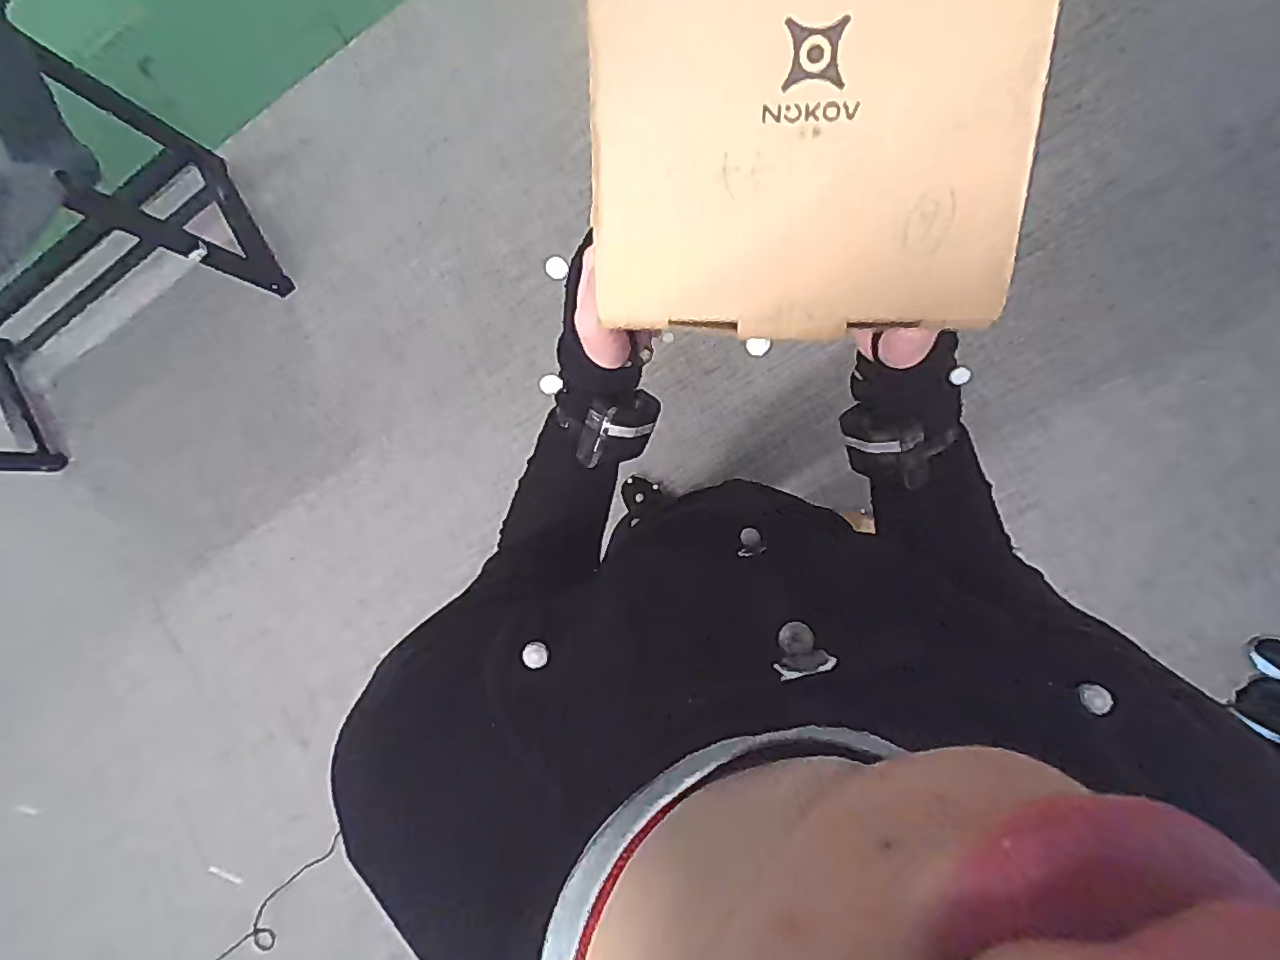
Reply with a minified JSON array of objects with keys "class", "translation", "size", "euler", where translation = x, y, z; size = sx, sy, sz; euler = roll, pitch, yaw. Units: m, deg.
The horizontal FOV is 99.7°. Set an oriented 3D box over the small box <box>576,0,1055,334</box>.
[{"class":"small box","translation":[0.062,-0.168,0.270],"size":[0.168,0.176,0.179],"euler":[1,107,2]}]
